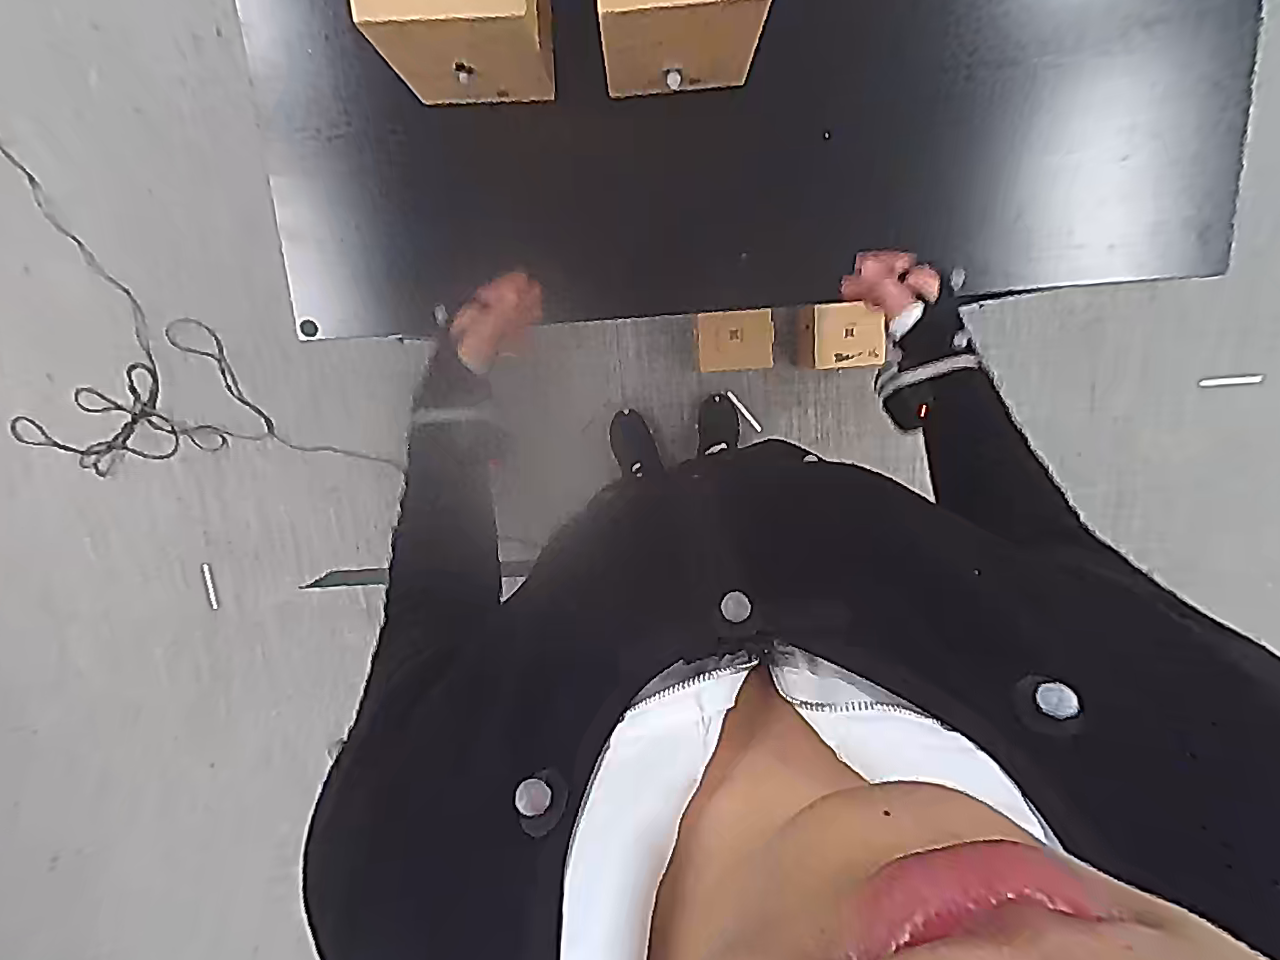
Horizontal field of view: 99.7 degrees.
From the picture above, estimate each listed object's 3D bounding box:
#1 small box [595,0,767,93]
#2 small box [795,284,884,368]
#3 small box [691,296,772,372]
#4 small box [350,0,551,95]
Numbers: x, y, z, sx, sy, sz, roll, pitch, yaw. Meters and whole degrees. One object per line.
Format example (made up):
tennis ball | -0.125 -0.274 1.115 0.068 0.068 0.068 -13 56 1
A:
small box | 0.034 -0.544 0.561 0.168 0.176 0.179 -4 102 2
small box | 0.485 -0.371 1.331 0.168 0.176 0.179 -5 101 3
small box | 0.223 -0.359 1.342 0.179 0.176 0.168 -4 101 3
small box | -0.190 -0.534 0.568 0.168 0.176 0.179 -1 102 0
